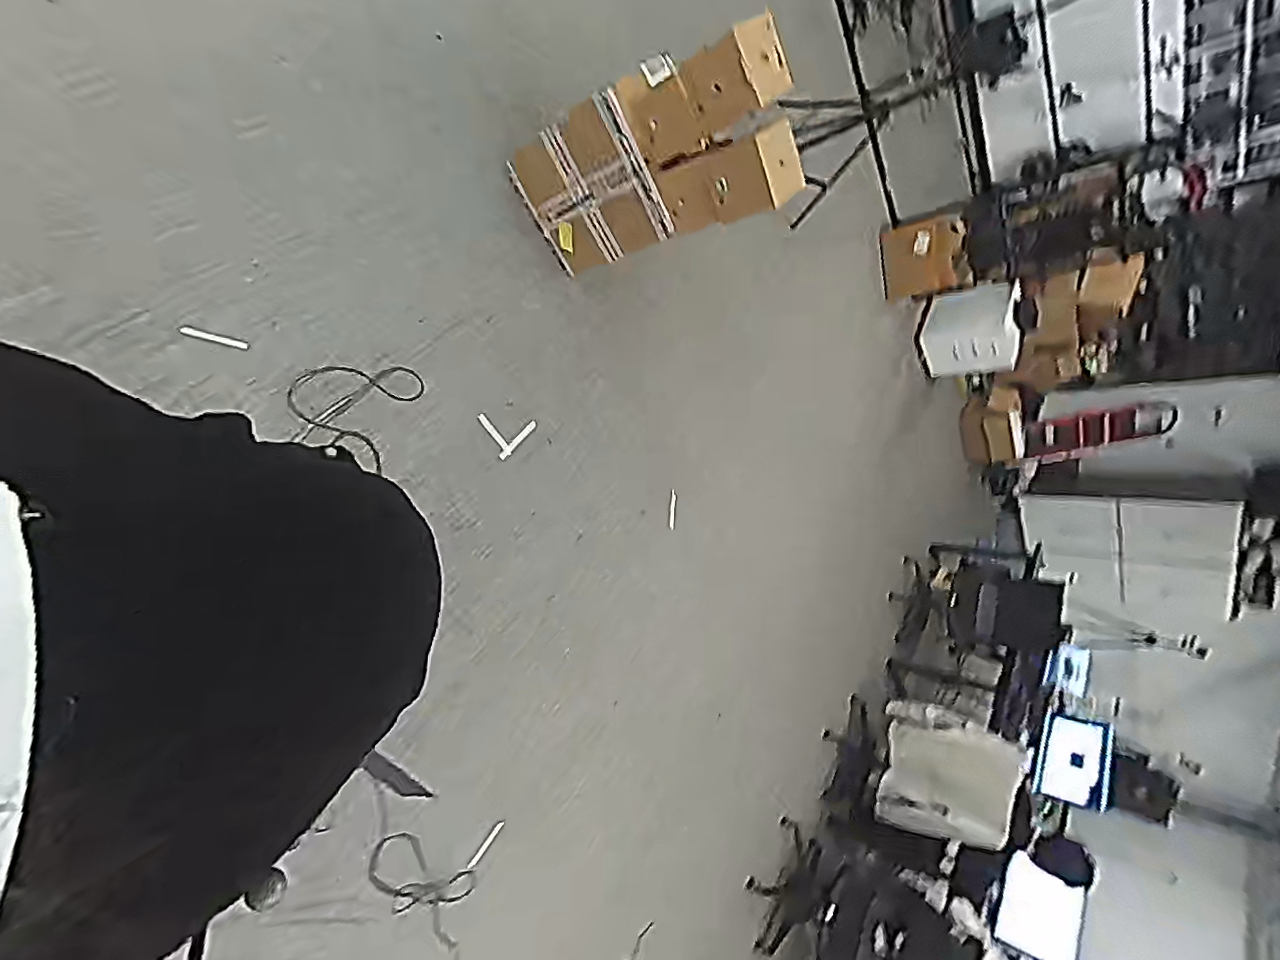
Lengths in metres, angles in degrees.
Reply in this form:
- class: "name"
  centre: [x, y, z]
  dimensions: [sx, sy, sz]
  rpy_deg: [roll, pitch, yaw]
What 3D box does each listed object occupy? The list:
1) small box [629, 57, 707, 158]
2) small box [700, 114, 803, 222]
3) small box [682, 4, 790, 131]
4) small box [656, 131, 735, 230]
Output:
- class: "small box"
  centre: [0.104, -0.984, 1.414]
  dimensions: [0.179, 0.176, 0.168]
  rpy_deg: [-51, 123, -27]
- class: "small box"
  centre: [0.282, -0.787, 1.371]
  dimensions: [0.179, 0.176, 0.168]
  rpy_deg: [-47, 124, -29]
- class: "small box"
  centre: [0.224, -0.983, 1.301]
  dimensions: [0.179, 0.176, 0.168]
  rpy_deg: [-49, 122, -28]
- class: "small box"
  centre: [0.175, -0.822, 1.493]
  dimensions: [0.179, 0.176, 0.168]
  rpy_deg: [-49, 125, -29]
